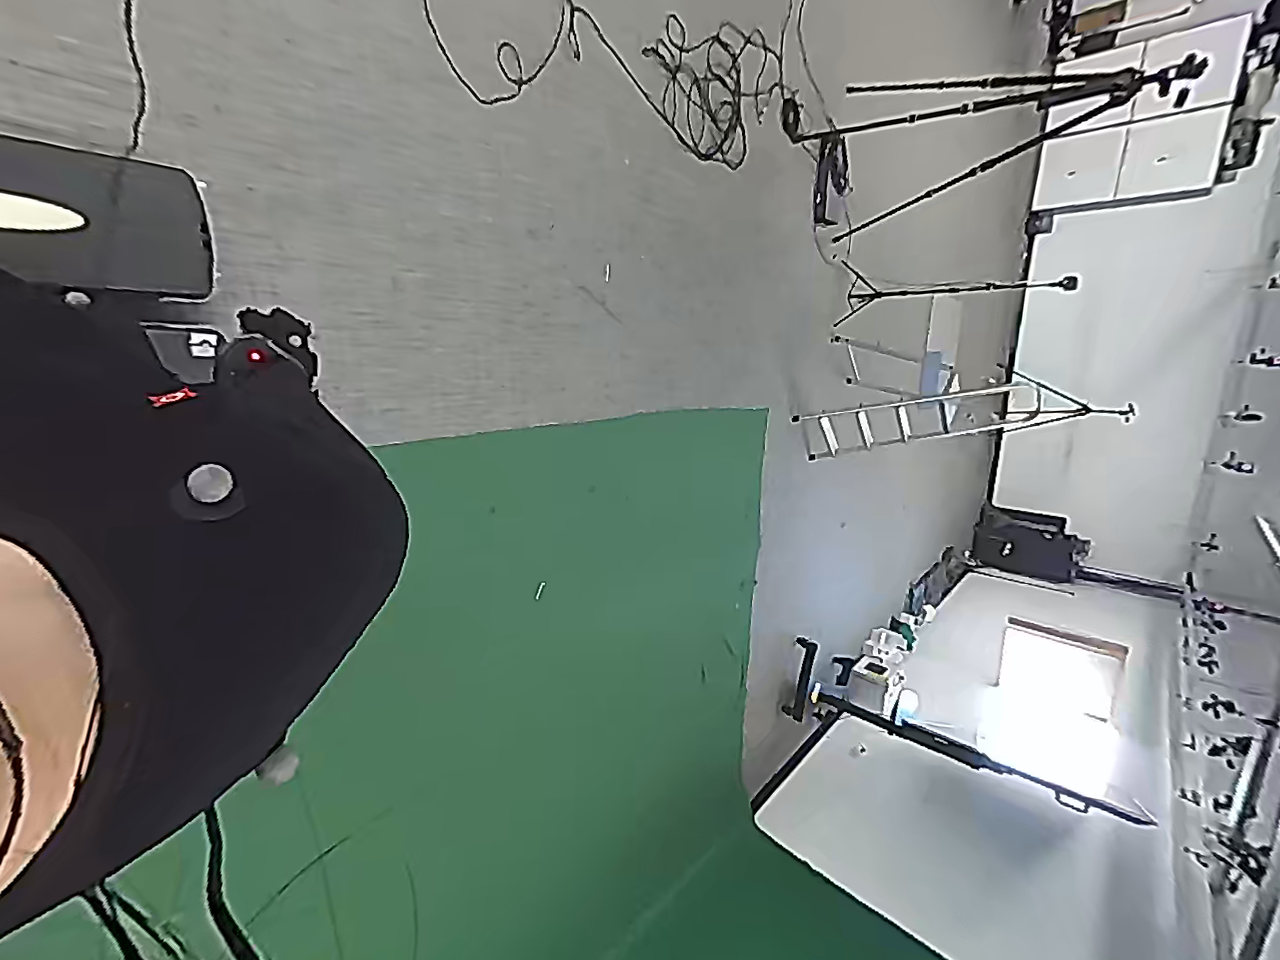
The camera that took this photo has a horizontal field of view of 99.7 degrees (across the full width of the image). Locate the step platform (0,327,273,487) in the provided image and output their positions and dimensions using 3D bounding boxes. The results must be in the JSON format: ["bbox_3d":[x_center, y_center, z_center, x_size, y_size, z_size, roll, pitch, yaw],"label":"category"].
[{"bbox_3d":[-1.068,-0.123,0.939,0.684,0.204,0.286,-14,109,-47],"label":"step platform"}]
